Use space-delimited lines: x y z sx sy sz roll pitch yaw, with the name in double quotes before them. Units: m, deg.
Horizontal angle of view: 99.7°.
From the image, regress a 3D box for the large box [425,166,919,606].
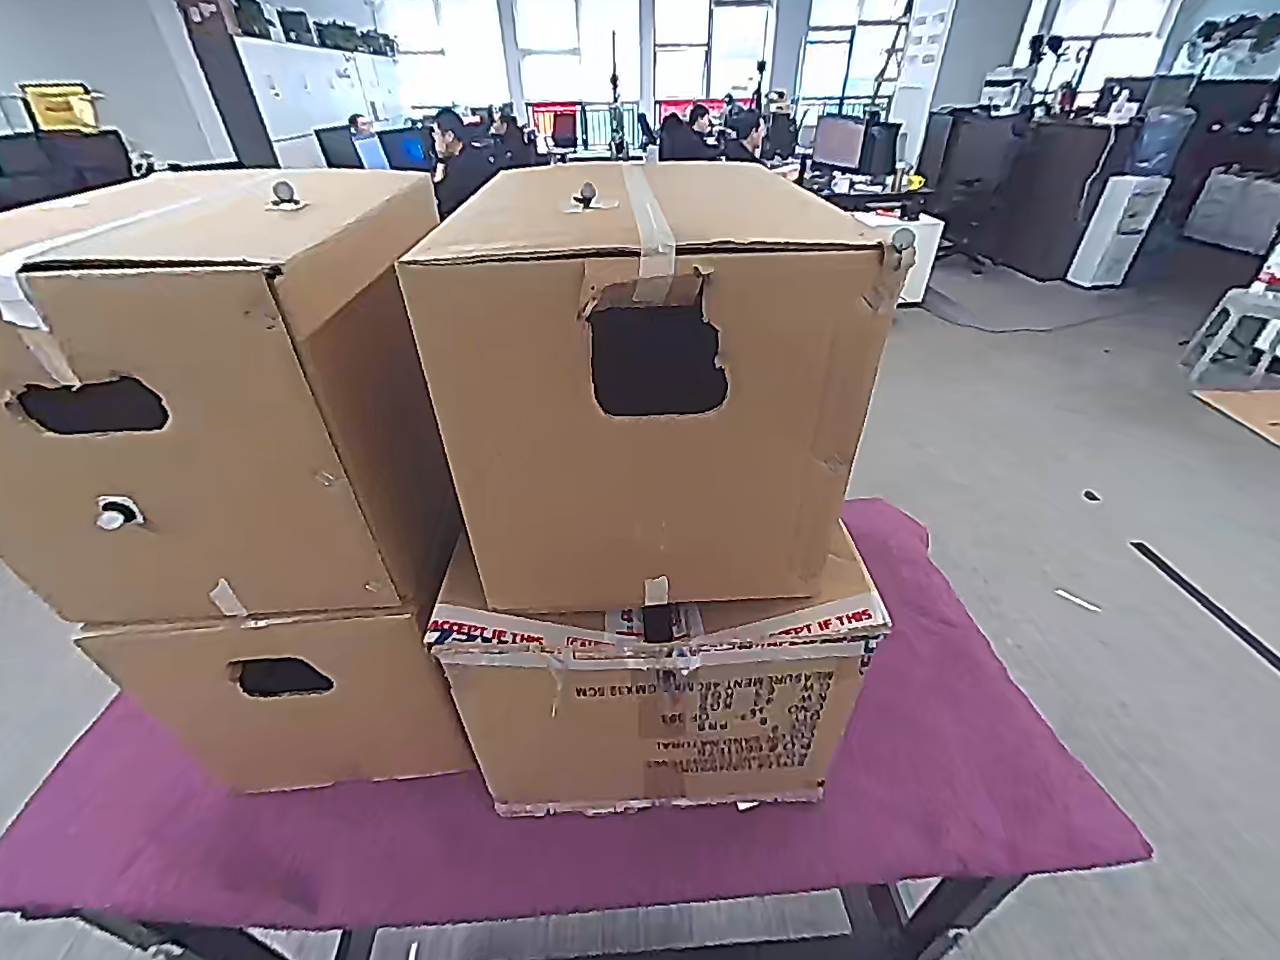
"large box" 0.008 -0.127 0.572 0.320 0.320 0.408 -4 37 -2
